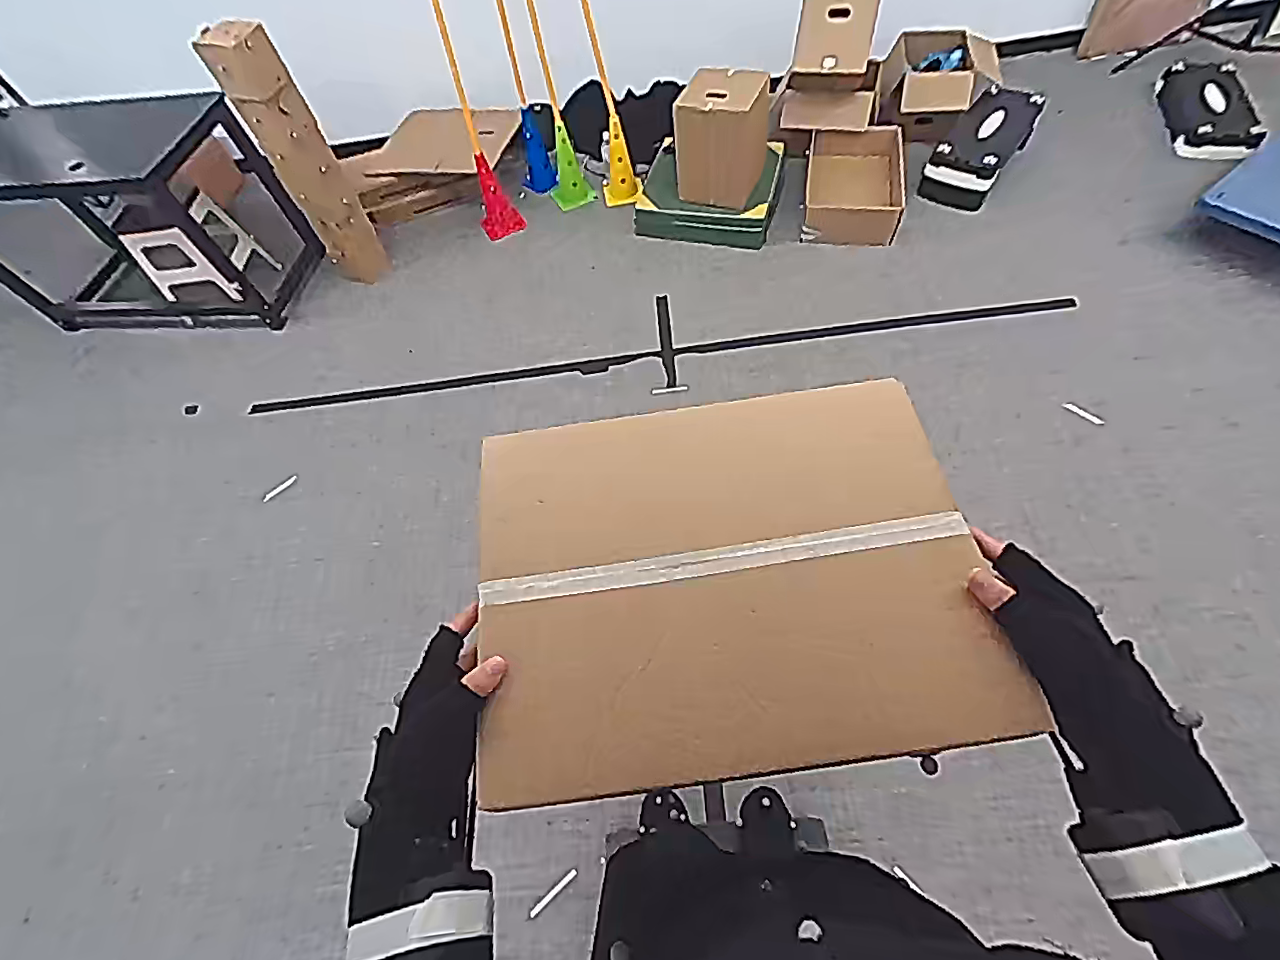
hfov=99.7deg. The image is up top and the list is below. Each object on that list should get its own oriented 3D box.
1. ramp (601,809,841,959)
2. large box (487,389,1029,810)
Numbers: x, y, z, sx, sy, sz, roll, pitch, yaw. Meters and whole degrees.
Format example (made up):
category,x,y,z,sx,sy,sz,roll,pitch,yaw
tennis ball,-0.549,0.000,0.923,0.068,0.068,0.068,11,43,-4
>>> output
category,x,y,z,sx,sy,sz,roll,pitch,yaw
ramp,0.193,1.226,1.051,0.509,0.206,0.991,-7,60,1
large box,0.079,0.141,0.588,0.408,0.320,0.320,-8,61,0
